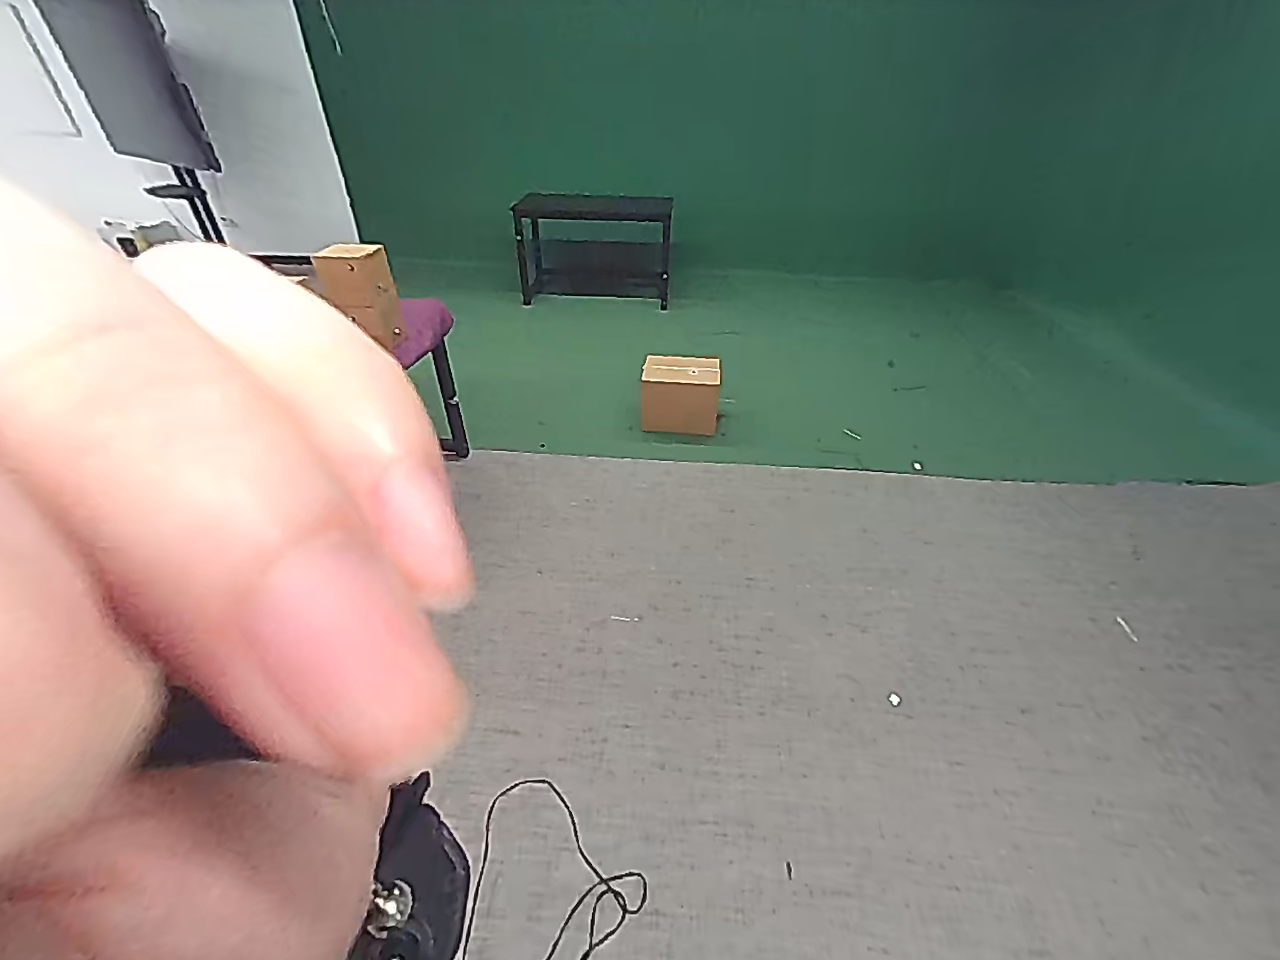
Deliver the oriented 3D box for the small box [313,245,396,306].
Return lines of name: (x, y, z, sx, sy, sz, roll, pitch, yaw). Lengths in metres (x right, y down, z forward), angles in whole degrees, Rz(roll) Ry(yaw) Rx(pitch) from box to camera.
small box: (-0.992, -0.715, 1.892, 0.179, 0.176, 0.168, 3, 37, 4)

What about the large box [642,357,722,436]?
large box: (0.223, -0.452, 2.926, 0.408, 0.320, 0.320, 5, 37, 5)

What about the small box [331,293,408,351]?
small box: (-0.987, -0.583, 1.987, 0.179, 0.176, 0.168, 4, 37, 4)
